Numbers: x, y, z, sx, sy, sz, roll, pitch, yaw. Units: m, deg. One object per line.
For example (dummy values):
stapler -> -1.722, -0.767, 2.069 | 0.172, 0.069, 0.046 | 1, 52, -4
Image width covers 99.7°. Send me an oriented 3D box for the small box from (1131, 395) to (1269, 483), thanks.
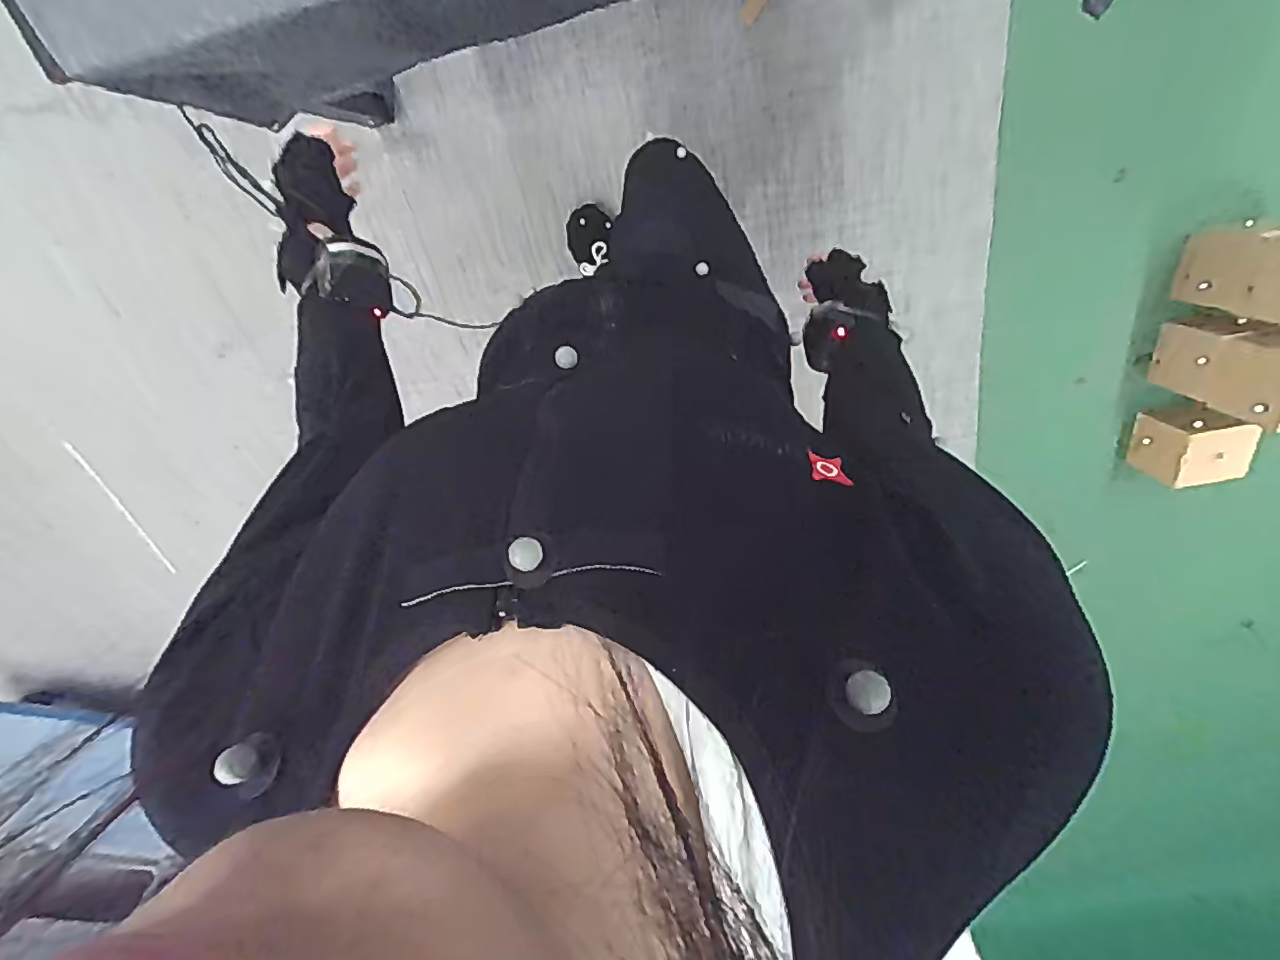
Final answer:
small box -> 1.507, -0.117, 1.468 | 0.179, 0.176, 0.168 | -11, 119, 6
